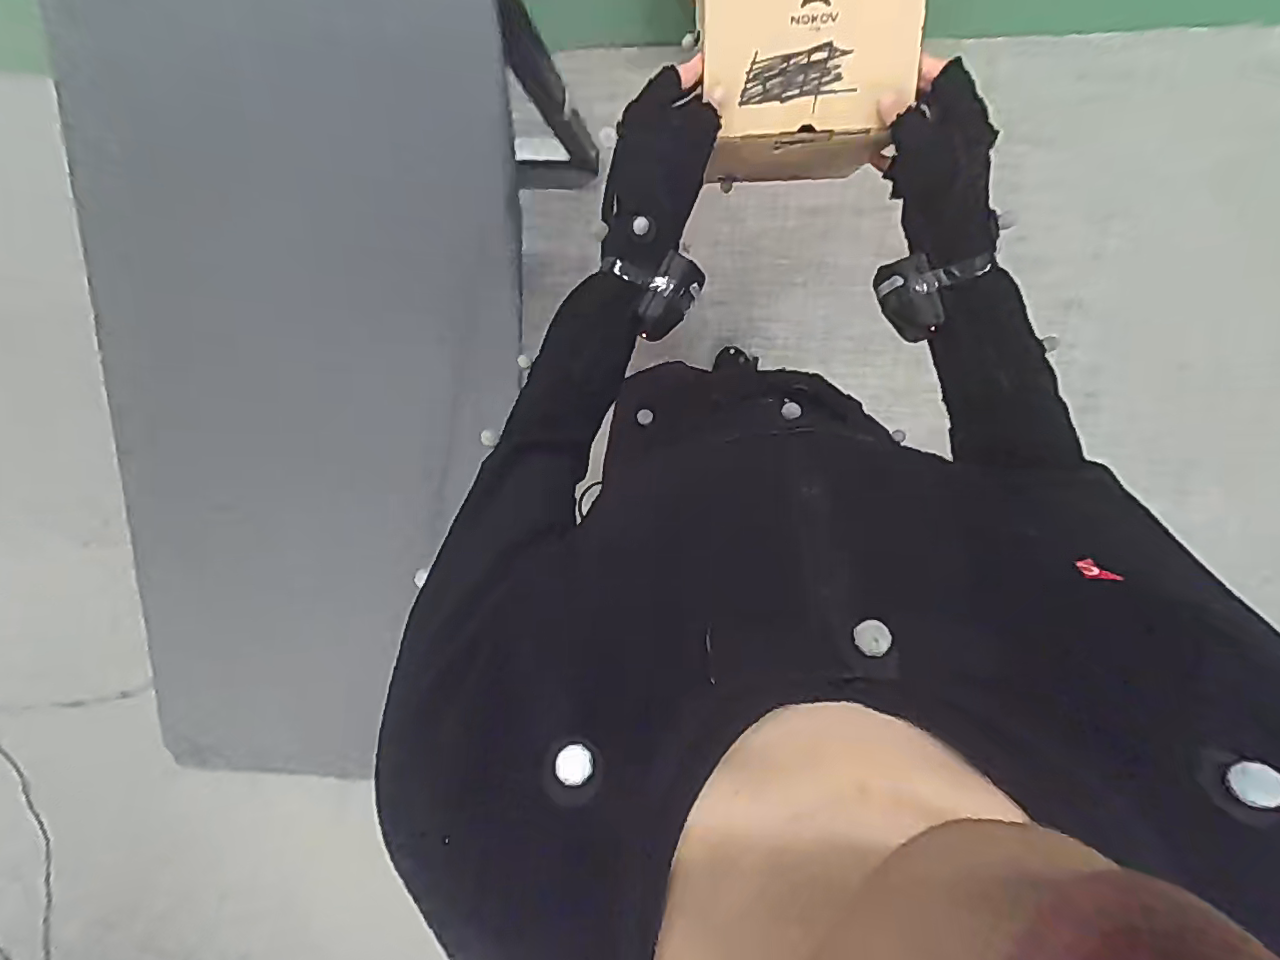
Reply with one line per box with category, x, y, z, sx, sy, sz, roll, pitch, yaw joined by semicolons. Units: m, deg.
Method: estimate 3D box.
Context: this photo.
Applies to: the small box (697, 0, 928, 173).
small box;0.138;-0.386;0.482;0.168;0.176;0.179;0;107;3
